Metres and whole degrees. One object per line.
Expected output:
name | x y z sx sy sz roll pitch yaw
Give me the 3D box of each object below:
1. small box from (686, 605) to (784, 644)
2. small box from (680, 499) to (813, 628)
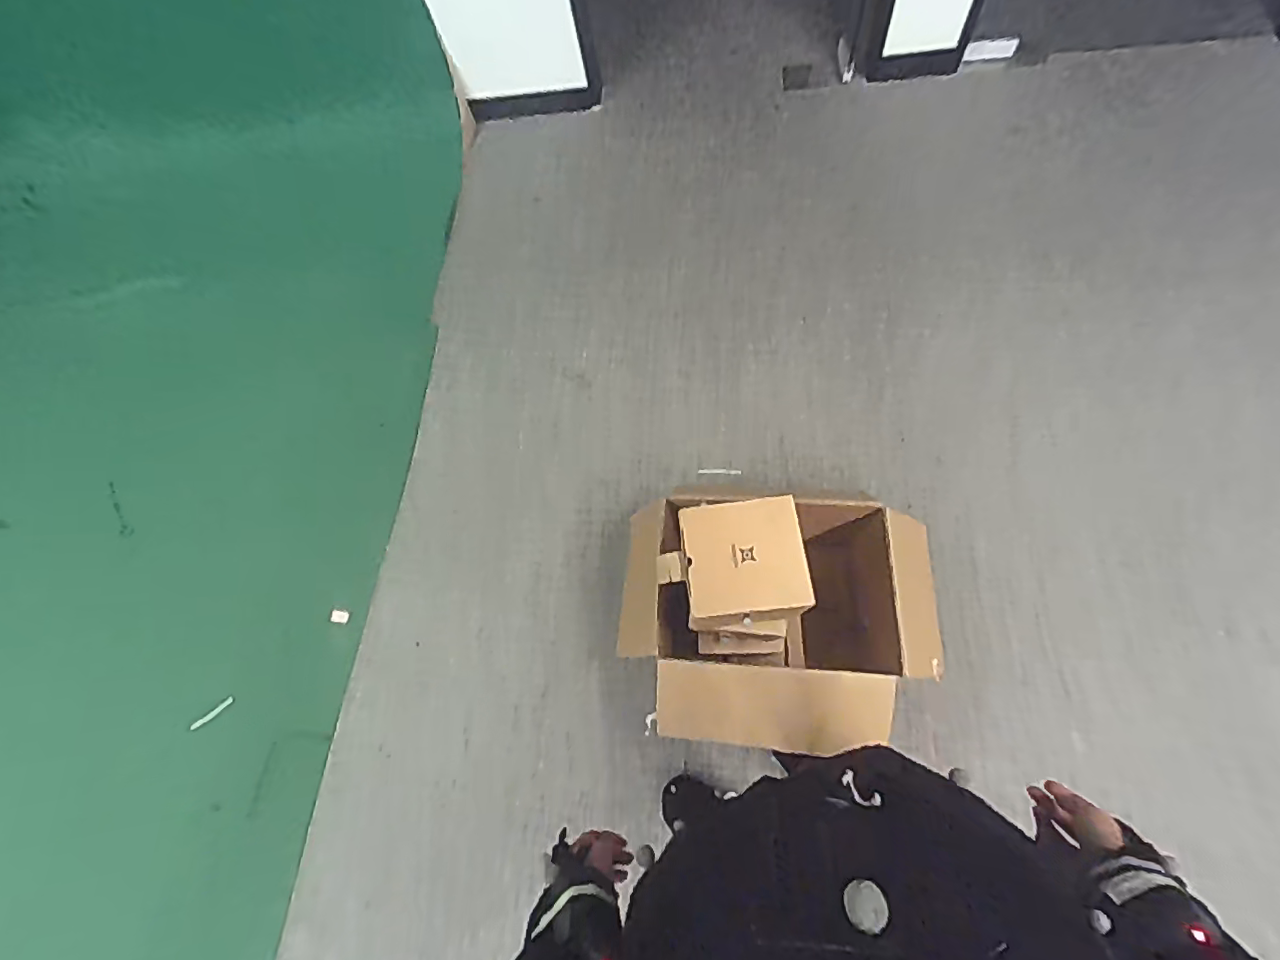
small box | 0.176 0.204 1.012 0.168 0.176 0.179 5 71 7
small box | 0.159 0.140 0.864 0.179 0.176 0.168 -7 69 4
